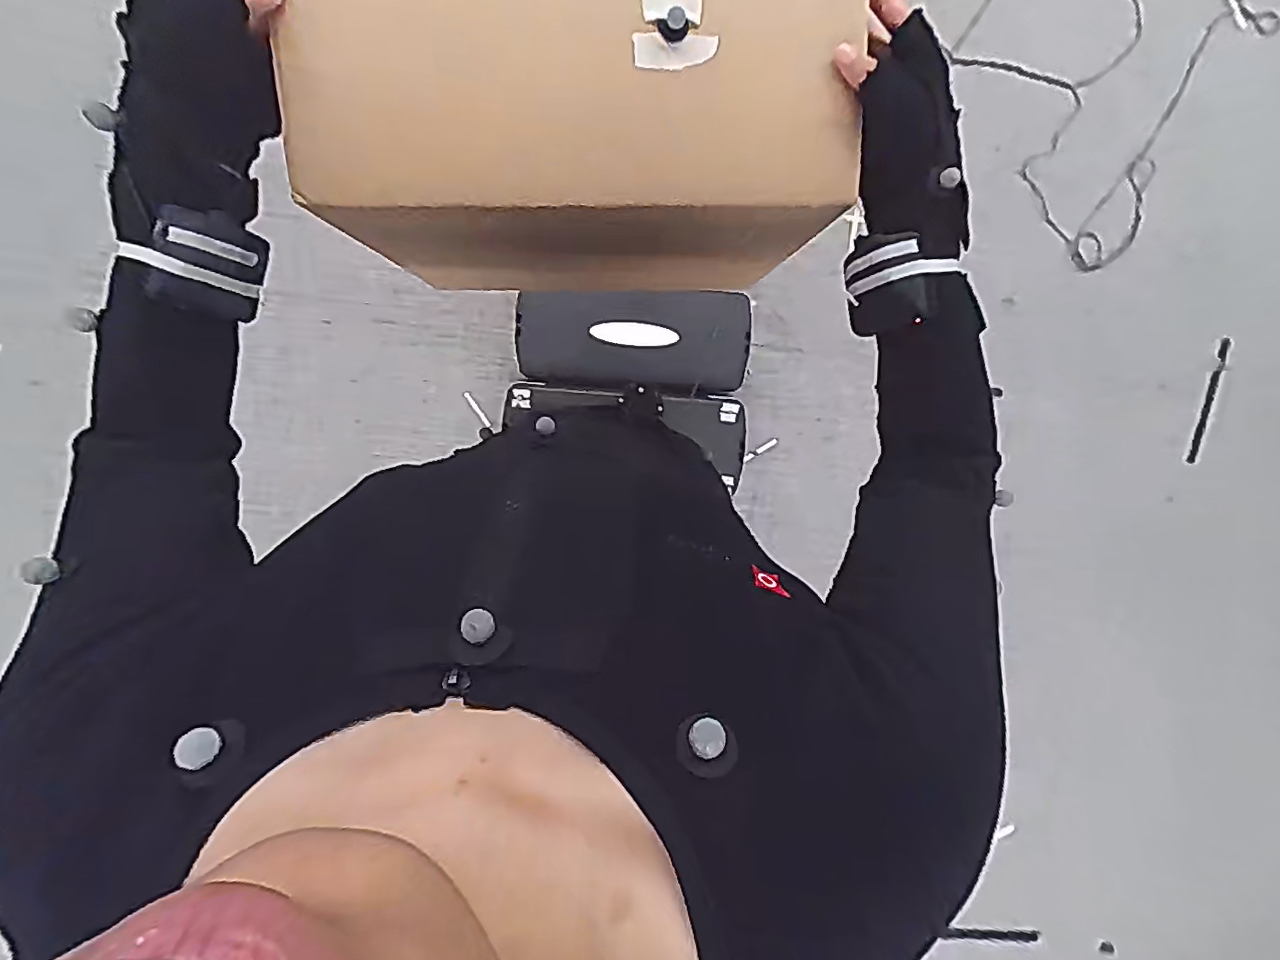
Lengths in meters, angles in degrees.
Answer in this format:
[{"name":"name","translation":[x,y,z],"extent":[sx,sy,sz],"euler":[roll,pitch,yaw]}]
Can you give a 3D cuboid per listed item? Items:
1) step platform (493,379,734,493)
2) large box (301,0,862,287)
[{"name":"step platform","translation":[-0.073,-0.126,1.562],"extent":[0.684,0.204,0.286],"euler":[3,99,-2]},{"name":"large box","translation":[-0.046,-0.382,0.526],"extent":[0.408,0.320,0.320],"euler":[-1,99,-3]}]
